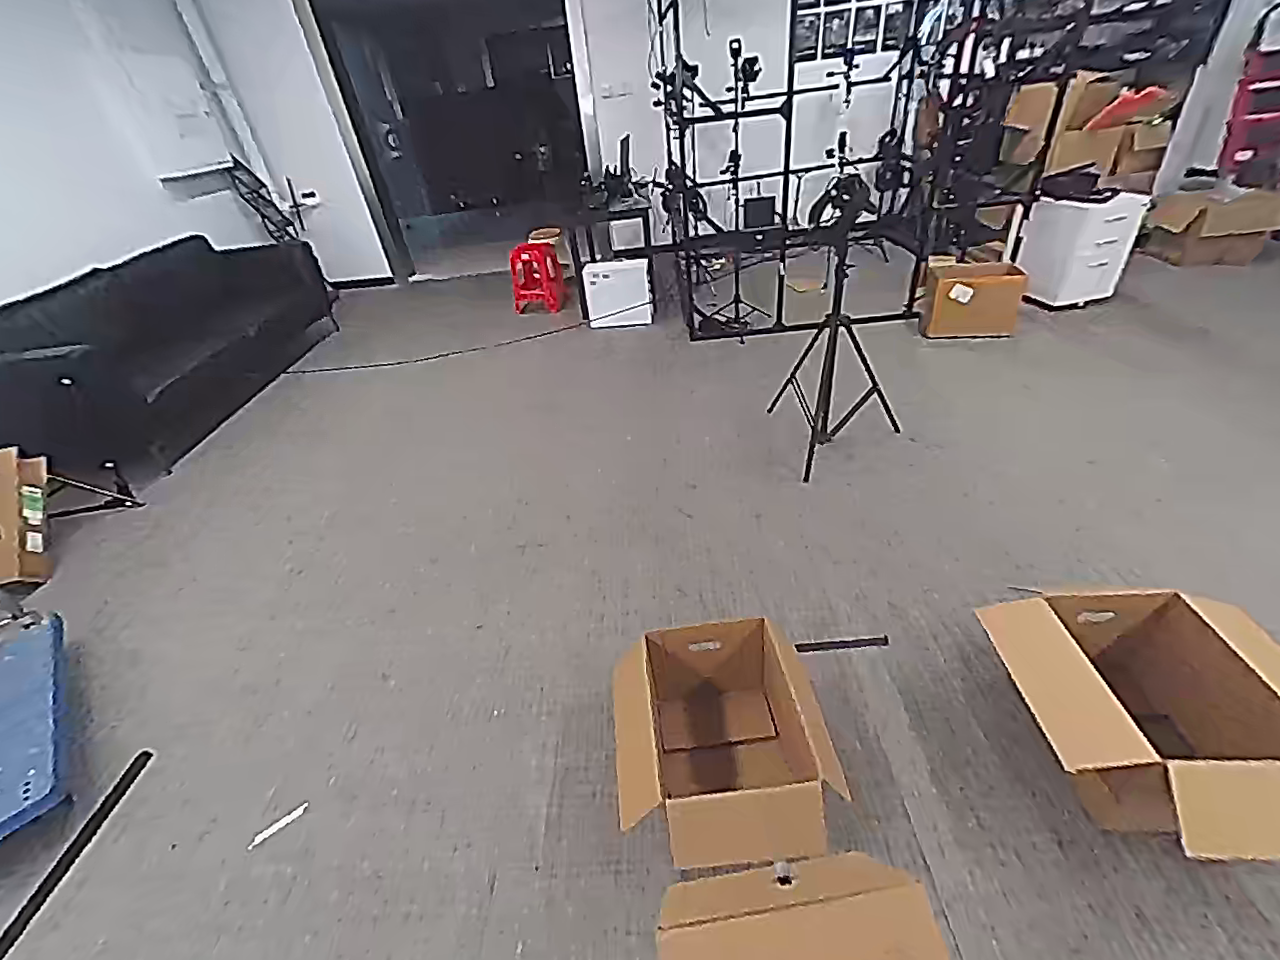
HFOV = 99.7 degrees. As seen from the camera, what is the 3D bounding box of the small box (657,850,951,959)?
[{"bbox_3d":[0.115,0.374,0.375,0.179,0.176,0.168,-10,60,-1],"label":"small box"}]
